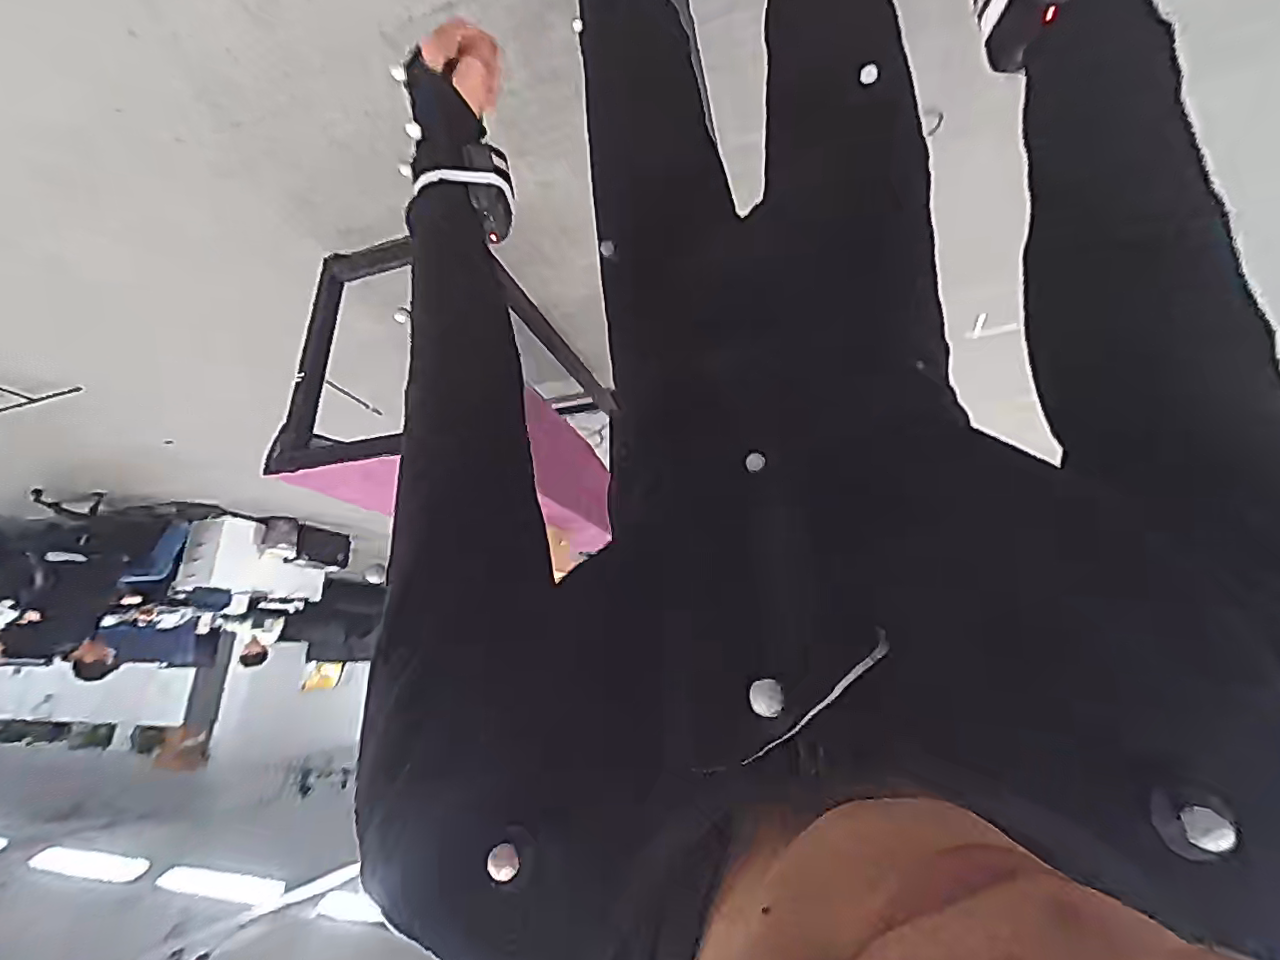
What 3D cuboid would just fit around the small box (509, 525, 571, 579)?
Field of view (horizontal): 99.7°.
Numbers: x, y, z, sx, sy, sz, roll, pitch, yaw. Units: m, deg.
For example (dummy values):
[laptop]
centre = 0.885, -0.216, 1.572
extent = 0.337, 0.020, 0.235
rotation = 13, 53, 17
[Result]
[small box]
centre = -0.373, 0.274, 2.045
extent = 0.179, 0.176, 0.168
rotation = -9, 160, 21
